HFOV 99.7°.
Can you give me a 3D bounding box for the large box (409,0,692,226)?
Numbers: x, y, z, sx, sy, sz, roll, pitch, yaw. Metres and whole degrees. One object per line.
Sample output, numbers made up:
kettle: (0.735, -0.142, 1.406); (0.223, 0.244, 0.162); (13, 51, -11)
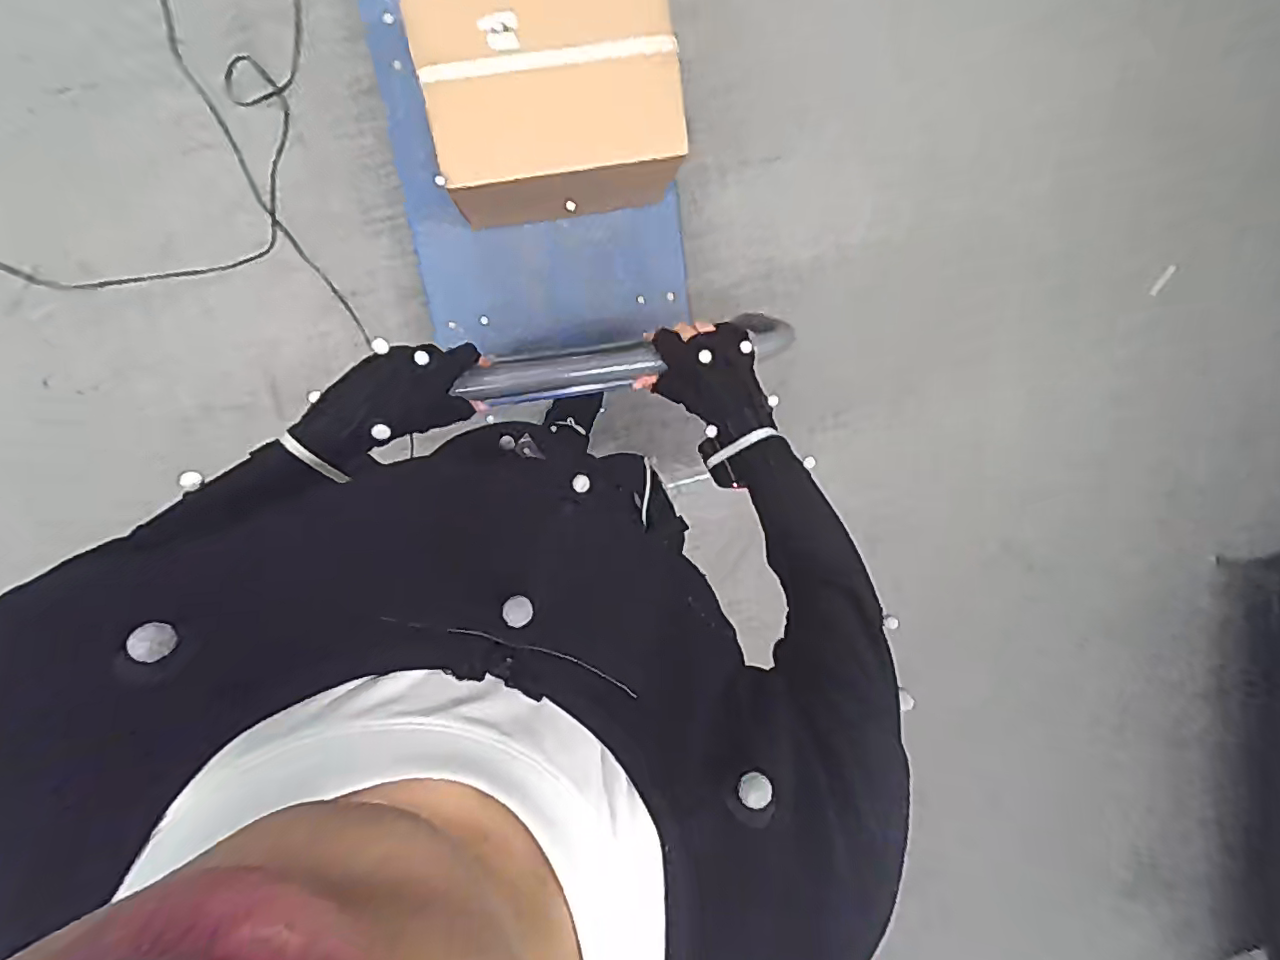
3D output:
large box: (-0.150, -0.687, 0.991); (0.408, 0.320, 0.320); (-11, 104, -5)
